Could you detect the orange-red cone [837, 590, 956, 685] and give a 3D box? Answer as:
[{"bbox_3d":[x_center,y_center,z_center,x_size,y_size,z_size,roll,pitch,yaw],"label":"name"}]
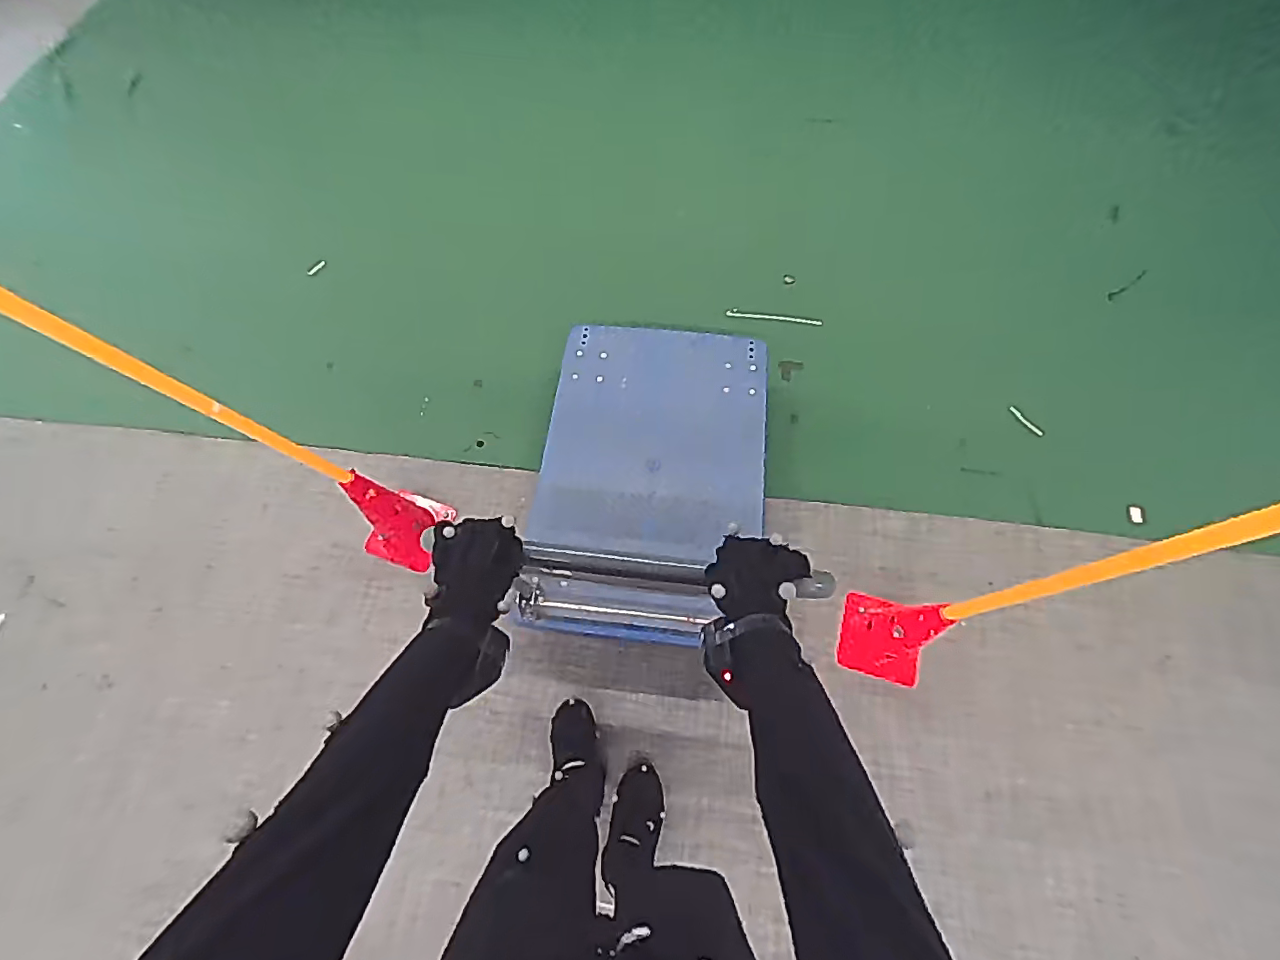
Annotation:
[{"bbox_3d":[0.606,0.328,1.216,0.198,0.360,0.199,16,68,9],"label":"orange-red cone"}]
